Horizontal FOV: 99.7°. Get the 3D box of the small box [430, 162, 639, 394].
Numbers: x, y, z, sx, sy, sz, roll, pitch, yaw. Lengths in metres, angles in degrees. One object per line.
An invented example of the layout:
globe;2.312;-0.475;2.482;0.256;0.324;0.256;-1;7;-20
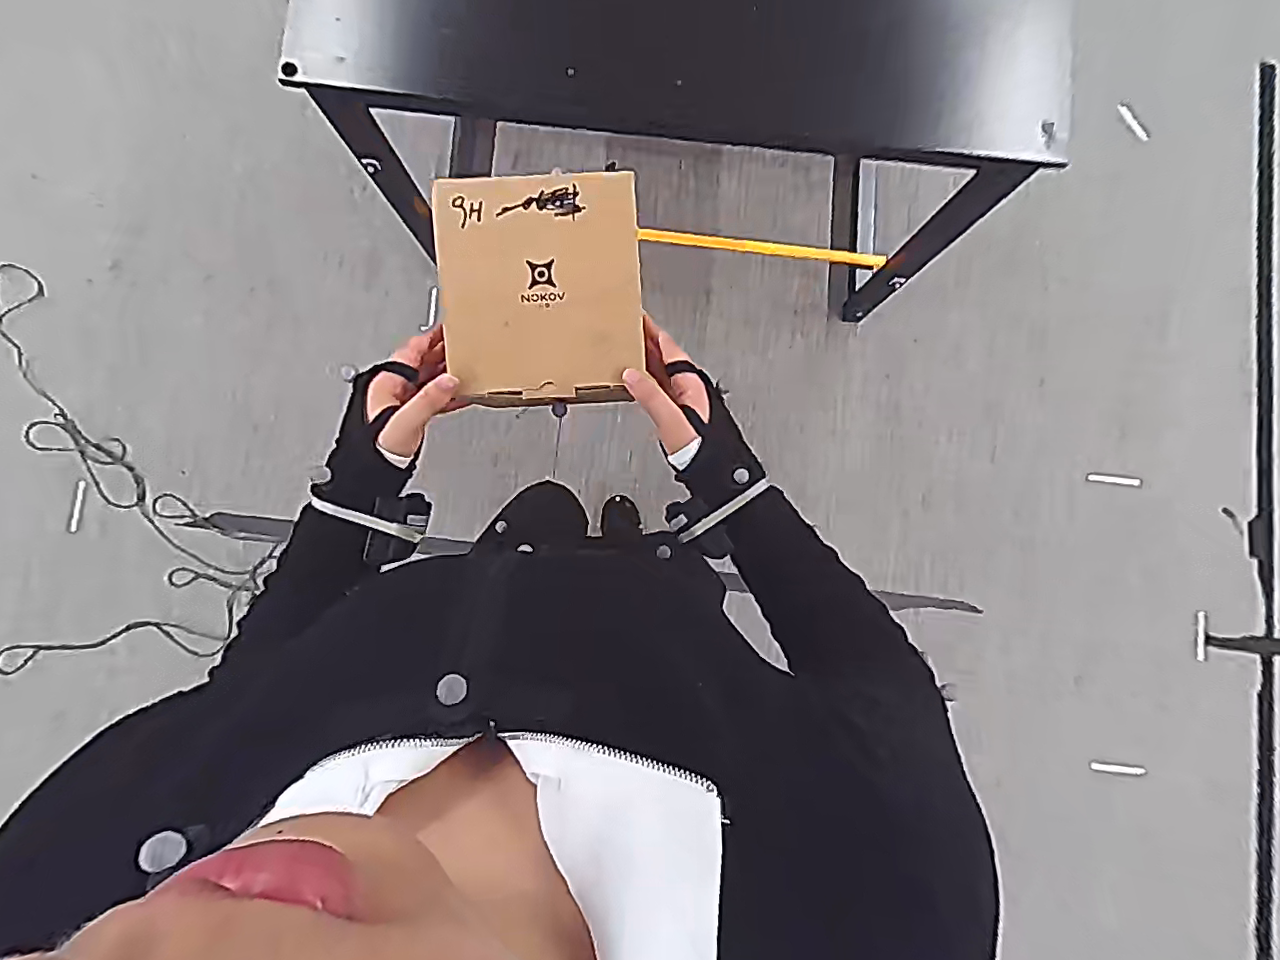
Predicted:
small box;-0.086;-0.177;0.526;0.168;0.176;0.179;-4;96;-2
